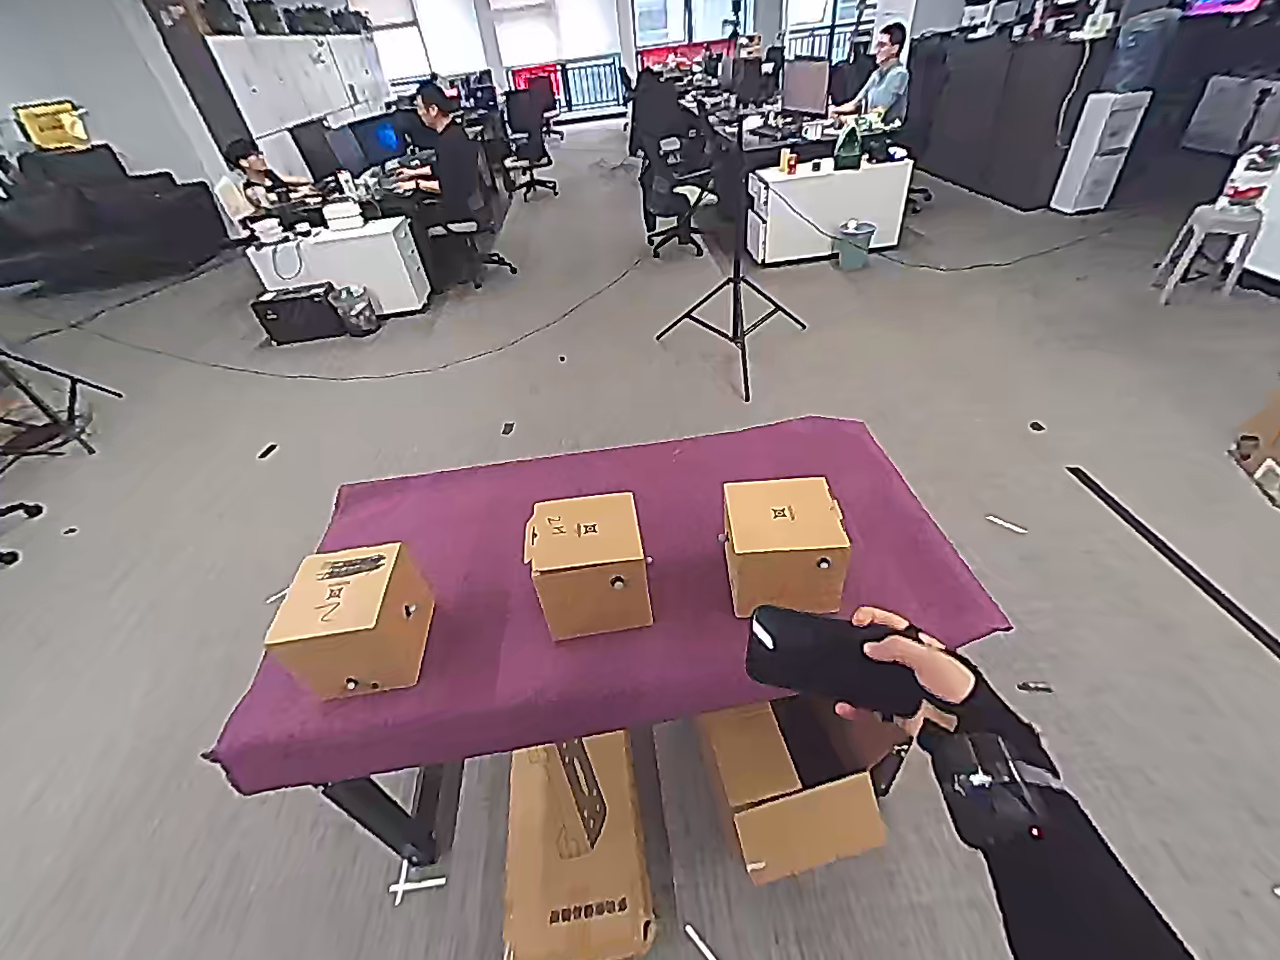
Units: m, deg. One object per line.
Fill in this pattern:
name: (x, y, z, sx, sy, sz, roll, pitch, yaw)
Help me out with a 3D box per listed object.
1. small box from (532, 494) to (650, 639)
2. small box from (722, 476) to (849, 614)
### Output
small box: (-0.080, 0.149, 0.931, 0.179, 0.176, 0.168, -9, 37, -2)
small box: (0.237, 0.114, 0.923, 0.179, 0.176, 0.168, -4, 40, 4)
